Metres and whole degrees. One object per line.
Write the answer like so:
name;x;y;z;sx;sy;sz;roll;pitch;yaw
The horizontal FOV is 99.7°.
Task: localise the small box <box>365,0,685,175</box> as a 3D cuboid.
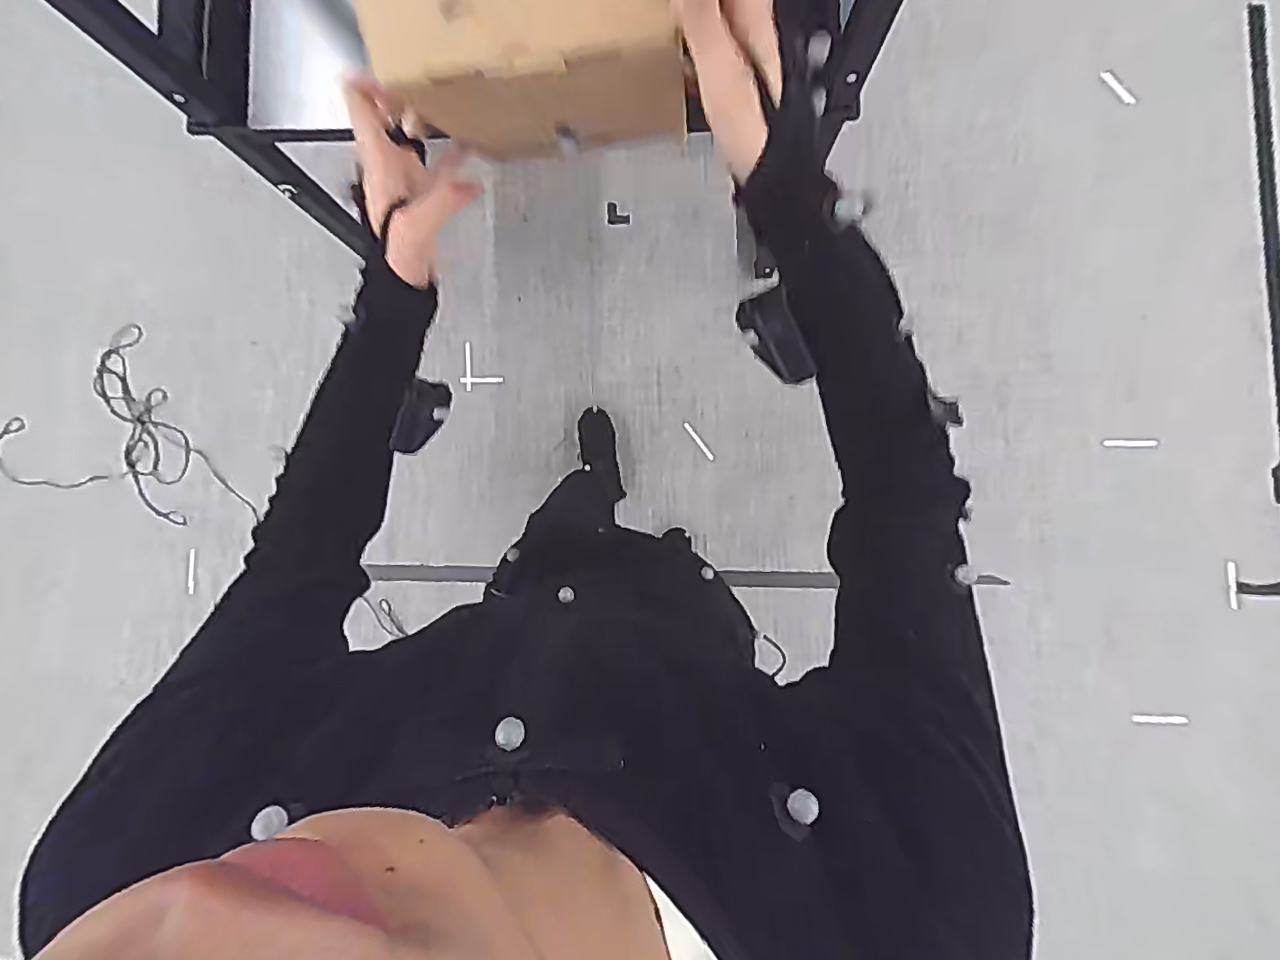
small box;-0.059;-0.317;0.341;0.168;0.176;0.179;-3;106;7
